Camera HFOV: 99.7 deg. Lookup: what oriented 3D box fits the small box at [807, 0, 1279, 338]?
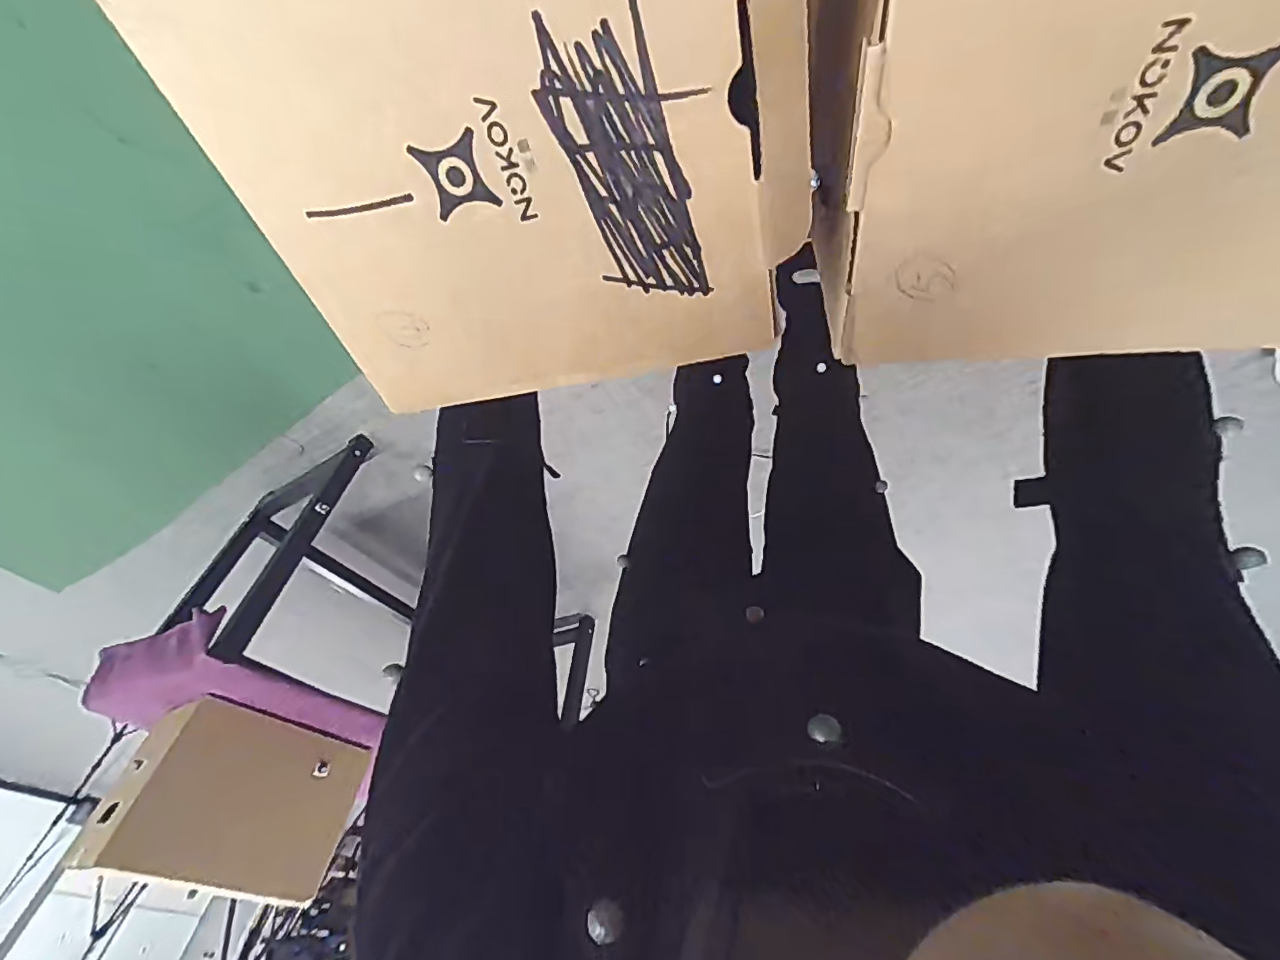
[{"bbox_3d":[0.160,-0.170,0.199,0.179,0.176,0.168,0,135,12],"label":"small box"}]
